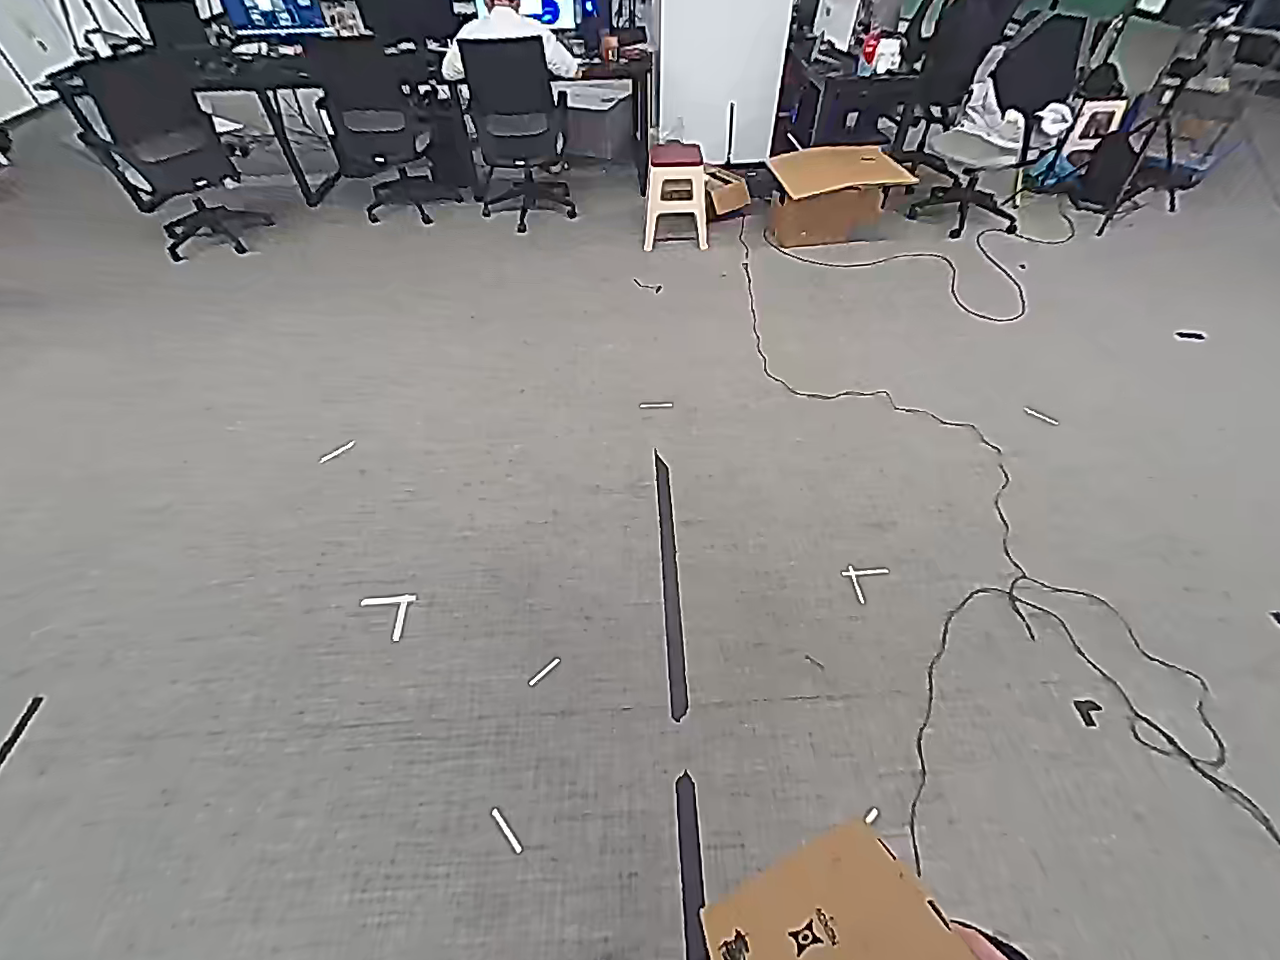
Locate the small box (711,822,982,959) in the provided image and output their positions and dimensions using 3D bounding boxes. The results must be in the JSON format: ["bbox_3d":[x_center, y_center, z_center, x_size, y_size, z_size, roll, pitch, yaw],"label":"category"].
[{"bbox_3d":[0.182,0.434,0.432,0.179,0.168,0.176,-26,89,-4],"label":"small box"}]
